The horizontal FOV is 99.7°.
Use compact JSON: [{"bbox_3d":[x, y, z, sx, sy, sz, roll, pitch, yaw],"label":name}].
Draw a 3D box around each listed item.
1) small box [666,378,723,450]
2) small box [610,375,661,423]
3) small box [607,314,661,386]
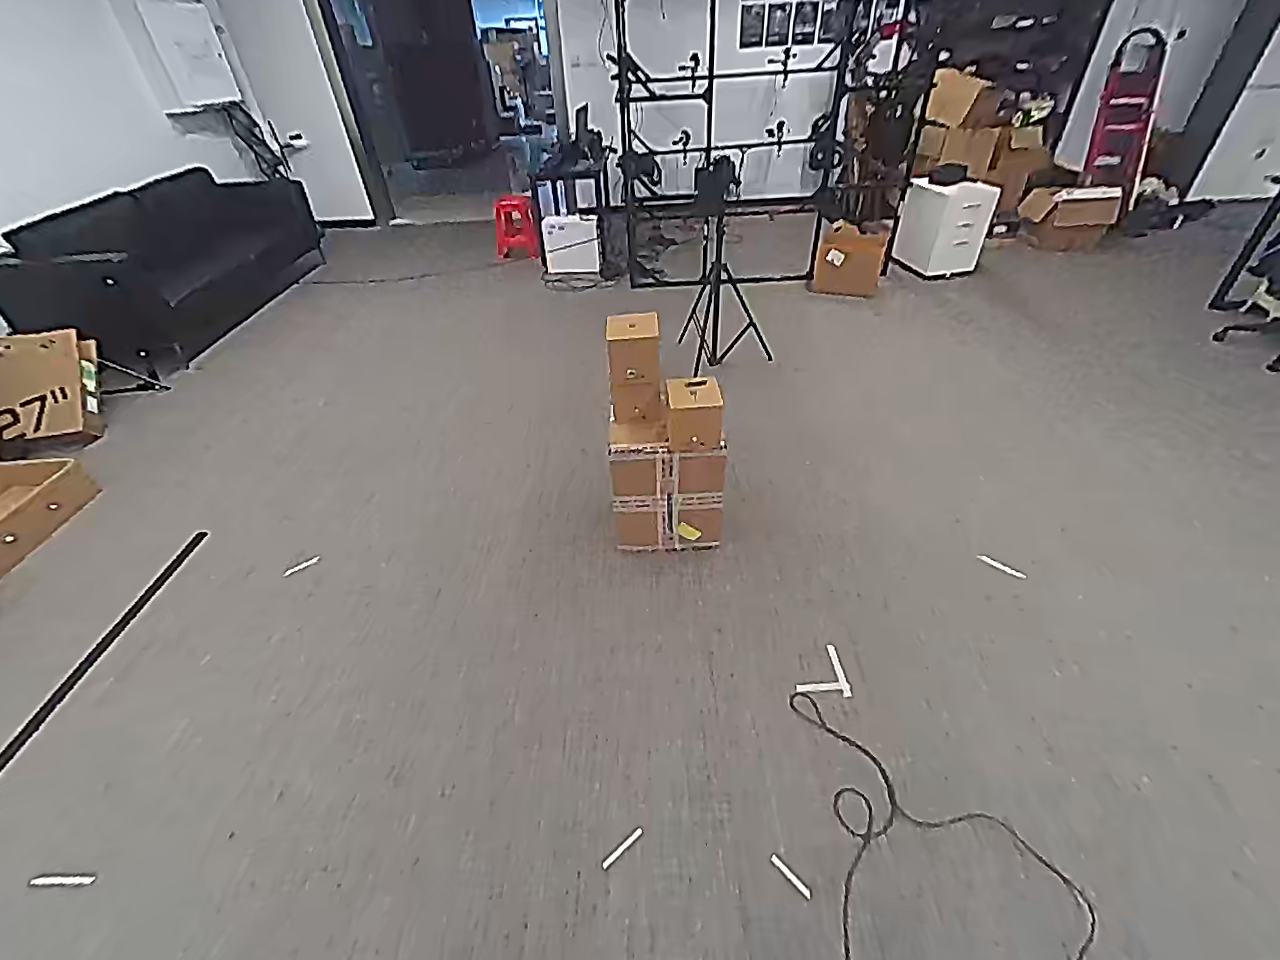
[{"bbox_3d":[0.173,-0.216,1.766,0.168,0.176,0.179,-4,42,-1],"label":"small box"},{"bbox_3d":[-0.014,-0.318,1.900,0.168,0.176,0.179,-4,42,2],"label":"small box"},{"bbox_3d":[-0.018,-0.427,1.777,0.168,0.176,0.179,-5,42,2],"label":"small box"}]
